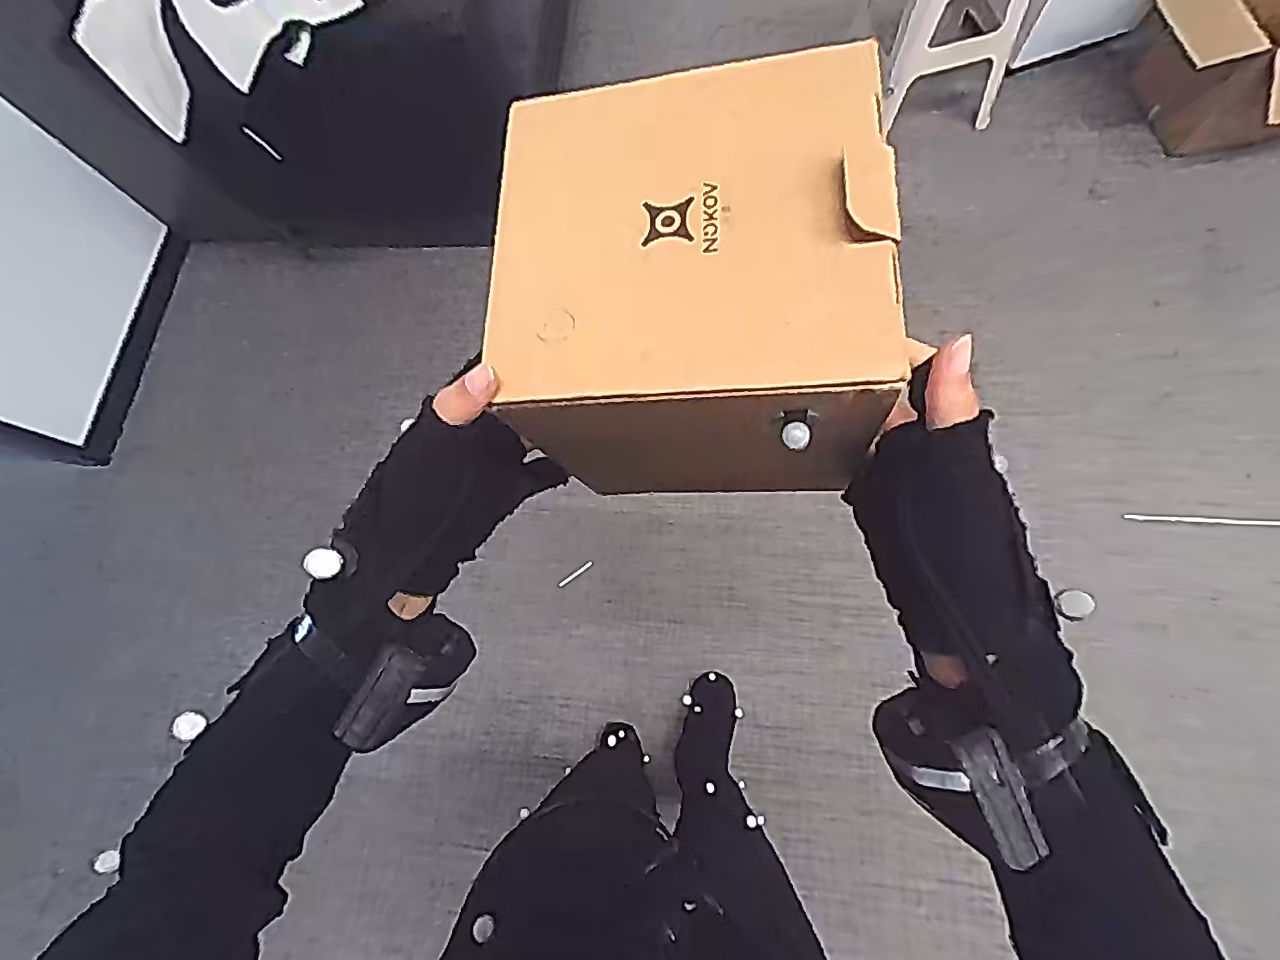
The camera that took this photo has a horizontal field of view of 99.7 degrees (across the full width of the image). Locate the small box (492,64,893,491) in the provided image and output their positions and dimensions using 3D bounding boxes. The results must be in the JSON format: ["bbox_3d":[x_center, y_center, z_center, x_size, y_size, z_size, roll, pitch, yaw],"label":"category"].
[{"bbox_3d":[0.036,-0.092,0.325,0.179,0.176,0.168,-2,74,13],"label":"small box"}]
